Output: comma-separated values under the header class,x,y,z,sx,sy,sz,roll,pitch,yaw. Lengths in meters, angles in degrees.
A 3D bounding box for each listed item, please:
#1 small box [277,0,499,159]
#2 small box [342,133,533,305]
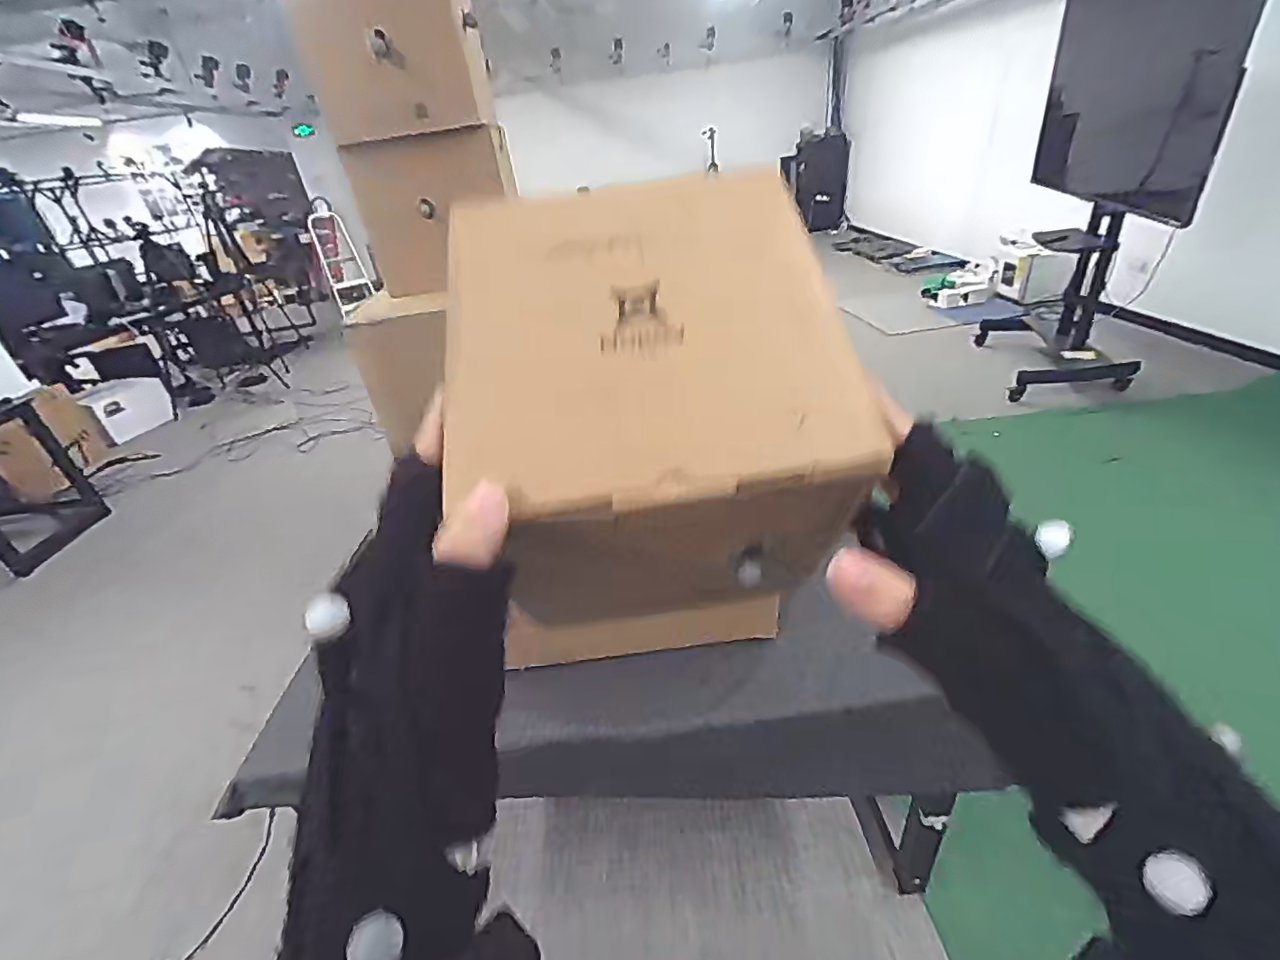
class,x,y,z,sx,sy,sz,roll,pitch,yaw
small box,-0.270,-0.477,0.622,0.168,0.176,0.179,-10,34,-1
small box,-0.248,-0.348,0.719,0.179,0.176,0.168,-10,33,-1
